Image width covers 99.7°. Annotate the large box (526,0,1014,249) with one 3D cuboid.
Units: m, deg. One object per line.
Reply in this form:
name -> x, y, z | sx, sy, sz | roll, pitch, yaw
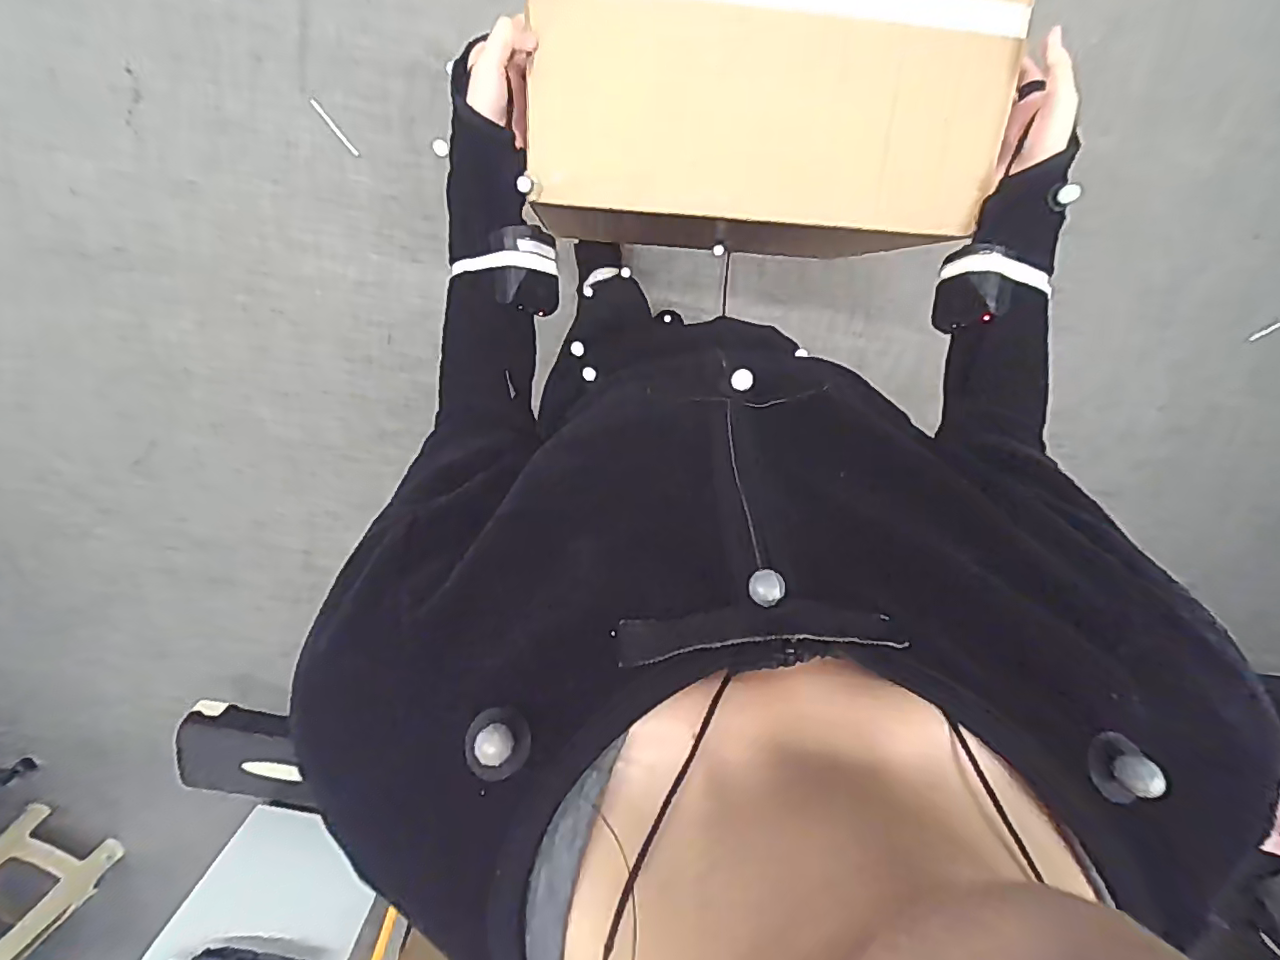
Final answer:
large box -> 0.099, -0.427, 0.576 | 0.408, 0.320, 0.320 | 1, 108, -5
